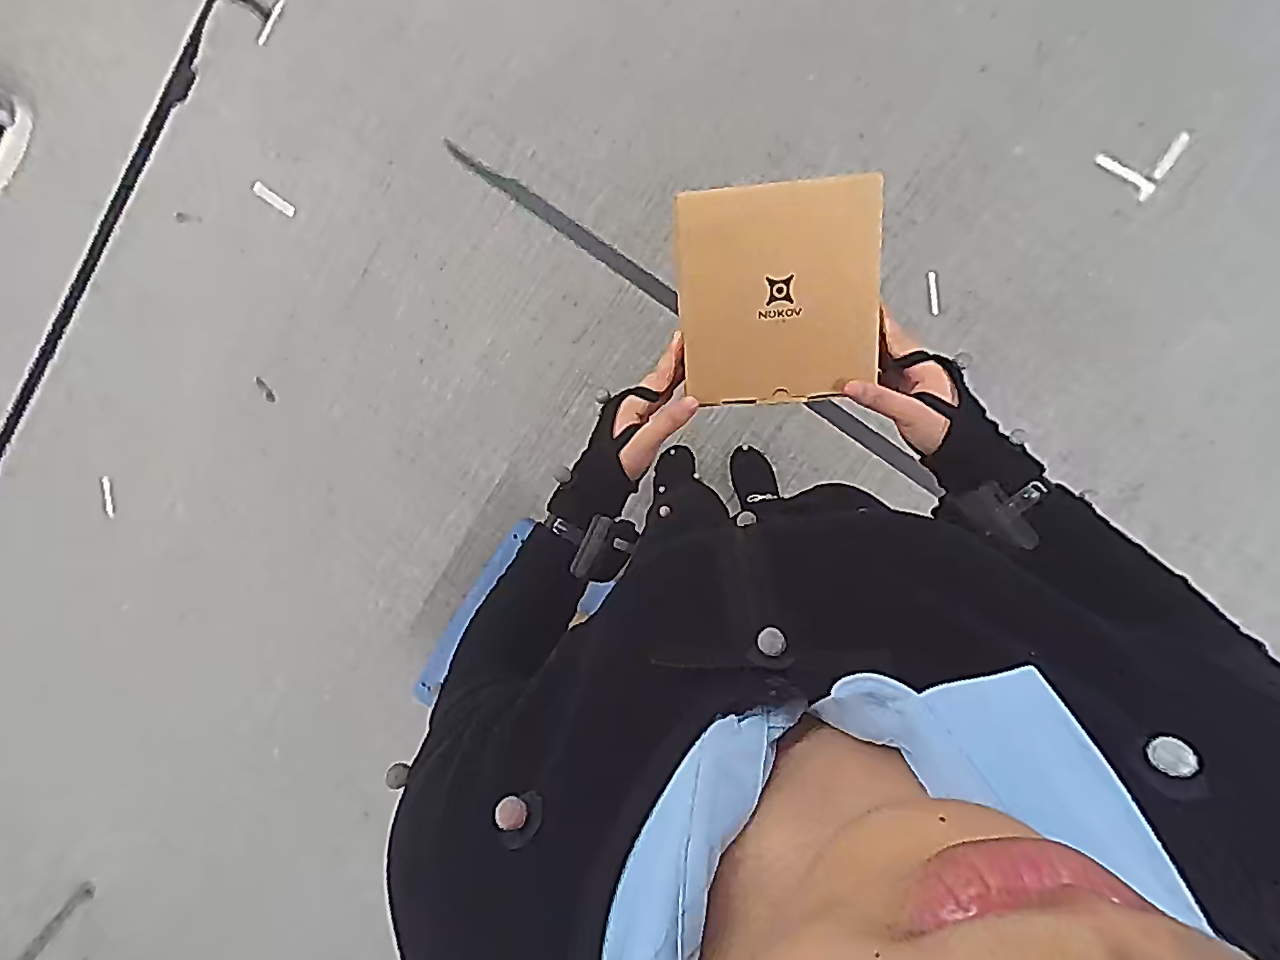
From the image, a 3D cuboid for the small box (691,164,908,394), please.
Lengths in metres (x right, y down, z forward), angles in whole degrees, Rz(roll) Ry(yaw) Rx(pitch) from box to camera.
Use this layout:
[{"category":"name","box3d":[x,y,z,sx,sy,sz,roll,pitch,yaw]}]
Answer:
[{"category":"small box","box3d":[0.136,-0.178,0.521,0.168,0.176,0.179,-2,103,4]}]
